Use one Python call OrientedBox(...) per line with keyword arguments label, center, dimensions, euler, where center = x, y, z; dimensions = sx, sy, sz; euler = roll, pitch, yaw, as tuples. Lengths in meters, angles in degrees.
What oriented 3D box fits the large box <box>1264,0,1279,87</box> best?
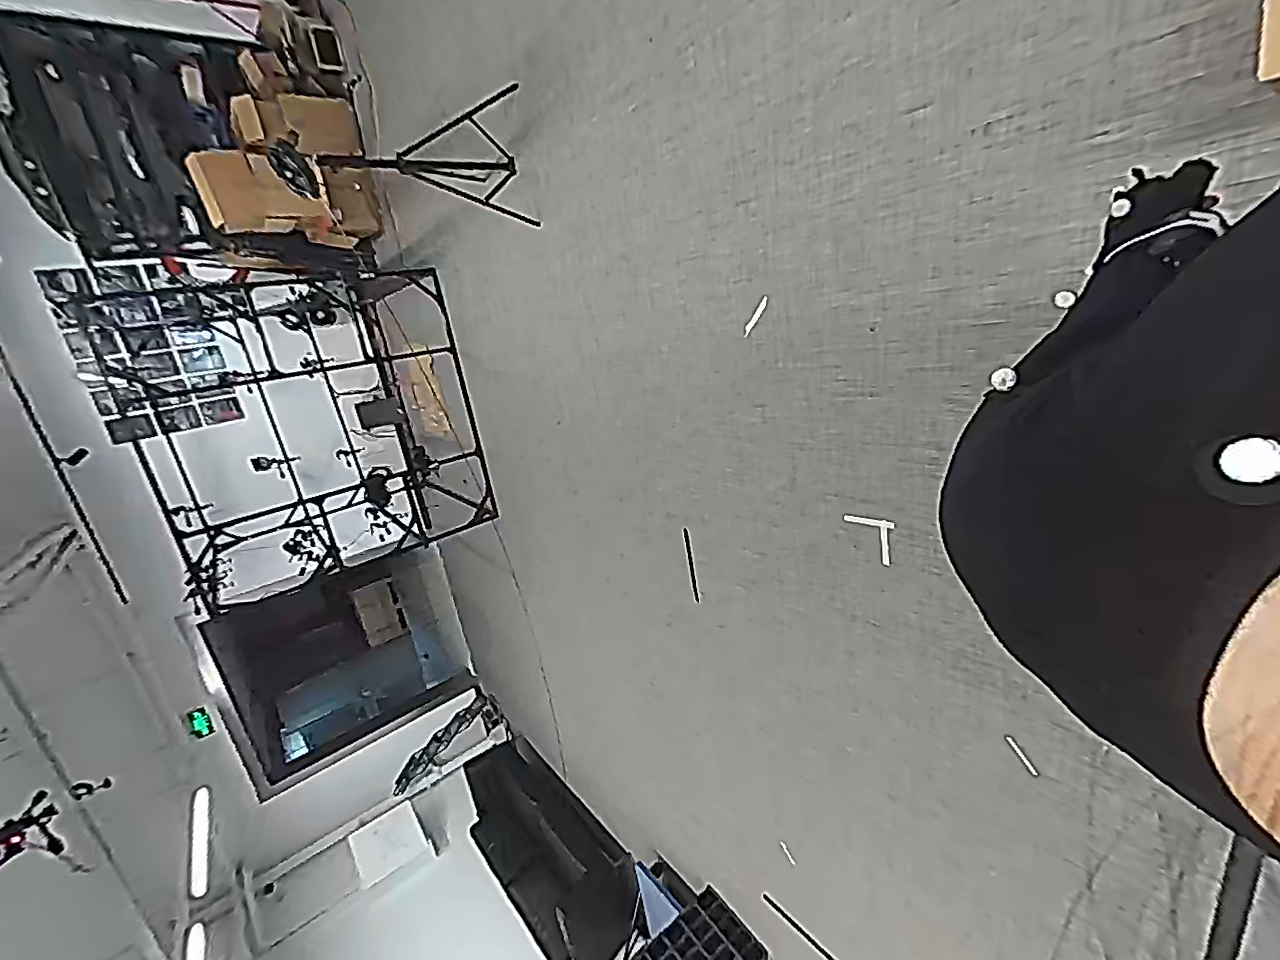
OrientedBox(label="large box", center=(1.049, -0.724, 0.624), dimensions=(0.408, 0.320, 0.320), euler=(8, 115, 52))
